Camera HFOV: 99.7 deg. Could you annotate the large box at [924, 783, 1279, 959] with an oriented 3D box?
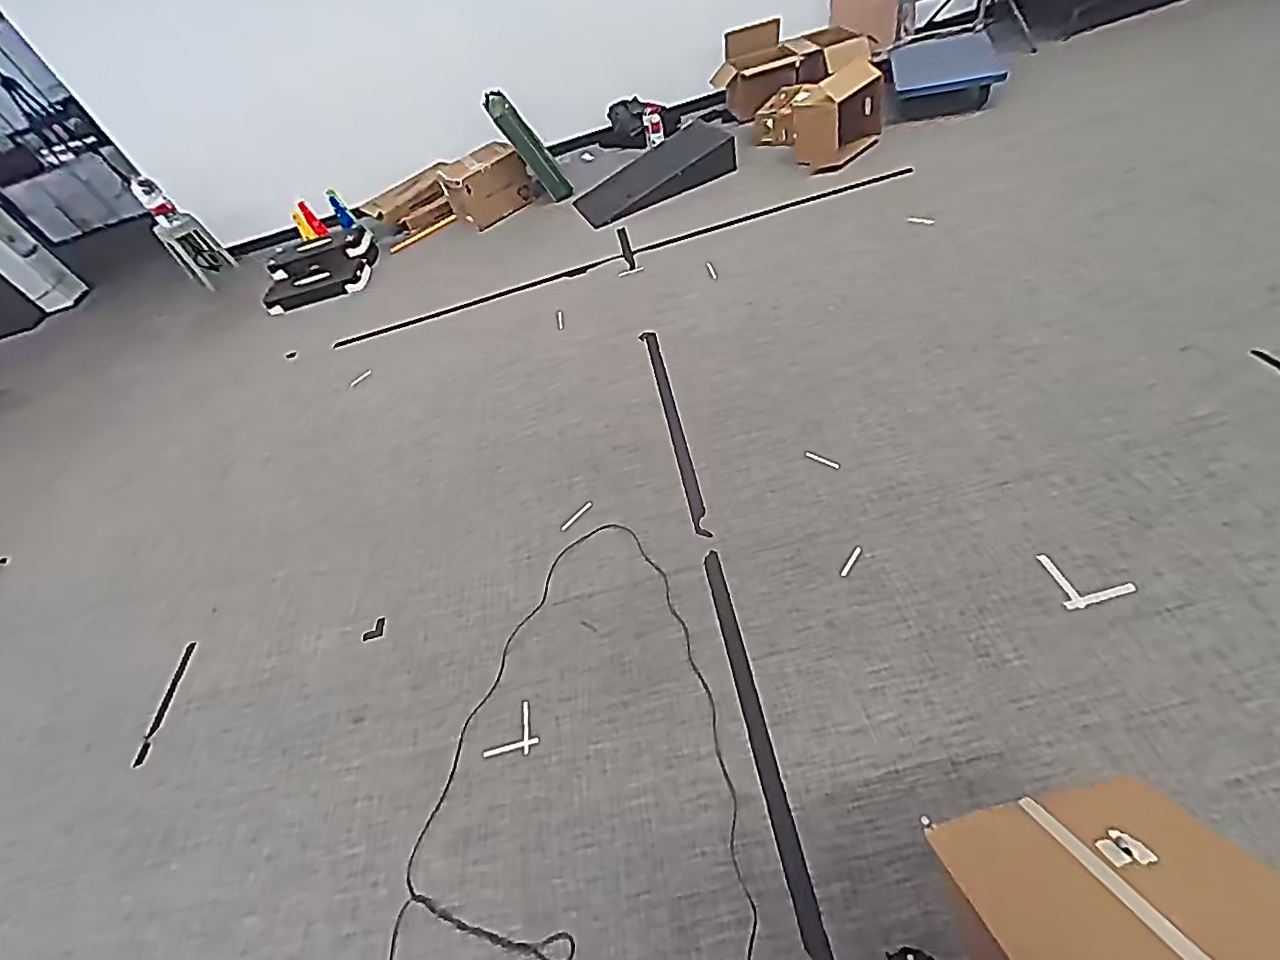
[{"bbox_3d":[0.613,0.637,0.614,0.320,0.408,0.320,-18,87,4],"label":"large box"}]
